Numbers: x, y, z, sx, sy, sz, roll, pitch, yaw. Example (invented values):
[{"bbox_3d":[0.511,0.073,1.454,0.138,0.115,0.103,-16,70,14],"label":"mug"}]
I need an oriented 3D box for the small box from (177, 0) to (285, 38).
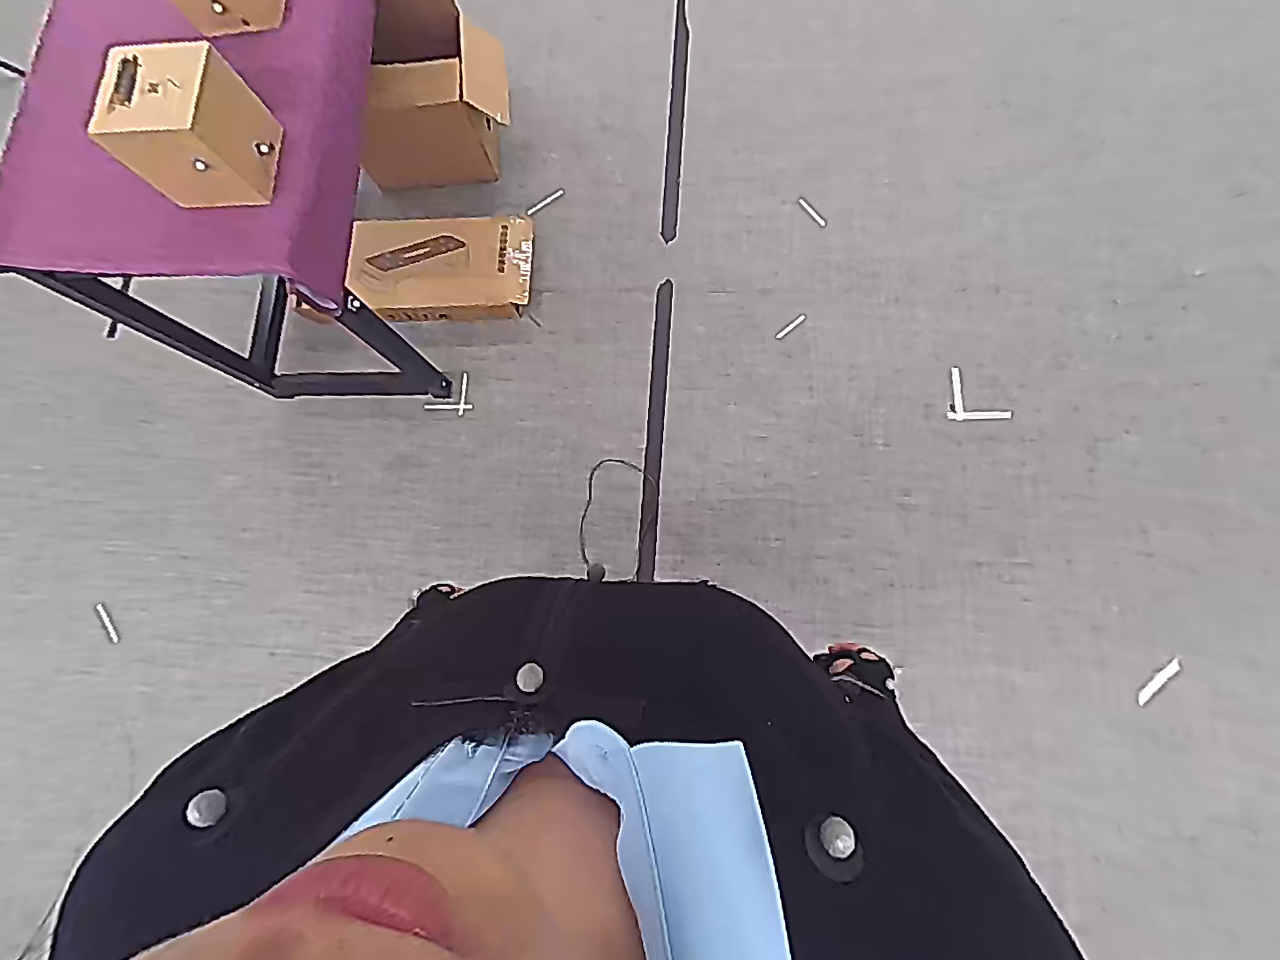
[{"bbox_3d":[-0.788,-0.975,1.002,0.168,0.176,0.179,-1,78,7],"label":"small box"}]
